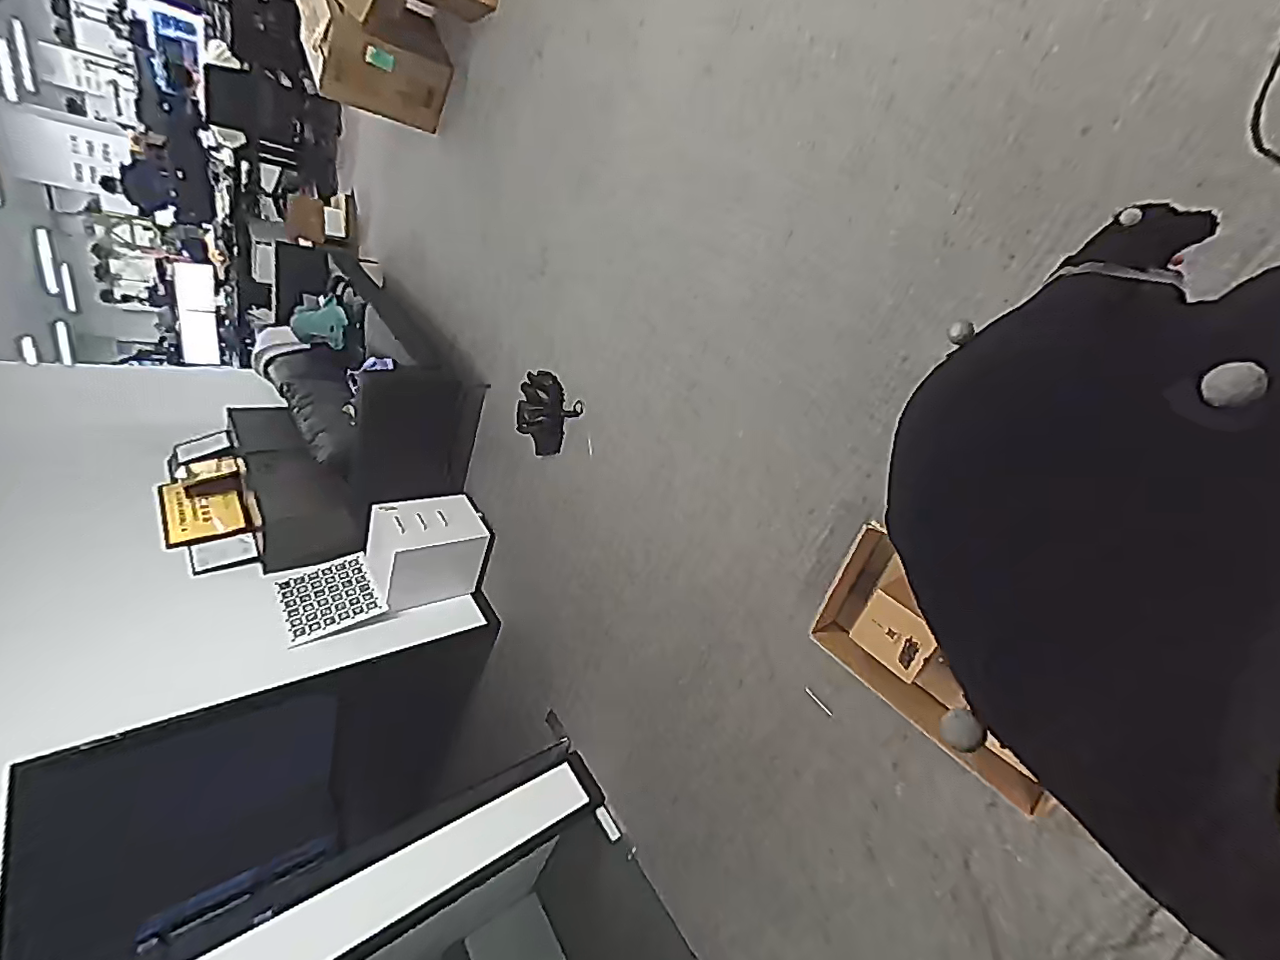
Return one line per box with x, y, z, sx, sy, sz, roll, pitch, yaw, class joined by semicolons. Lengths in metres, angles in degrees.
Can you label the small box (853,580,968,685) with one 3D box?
0.687;0.376;1.369;0.179;0.176;0.168;40;124;38;small box
